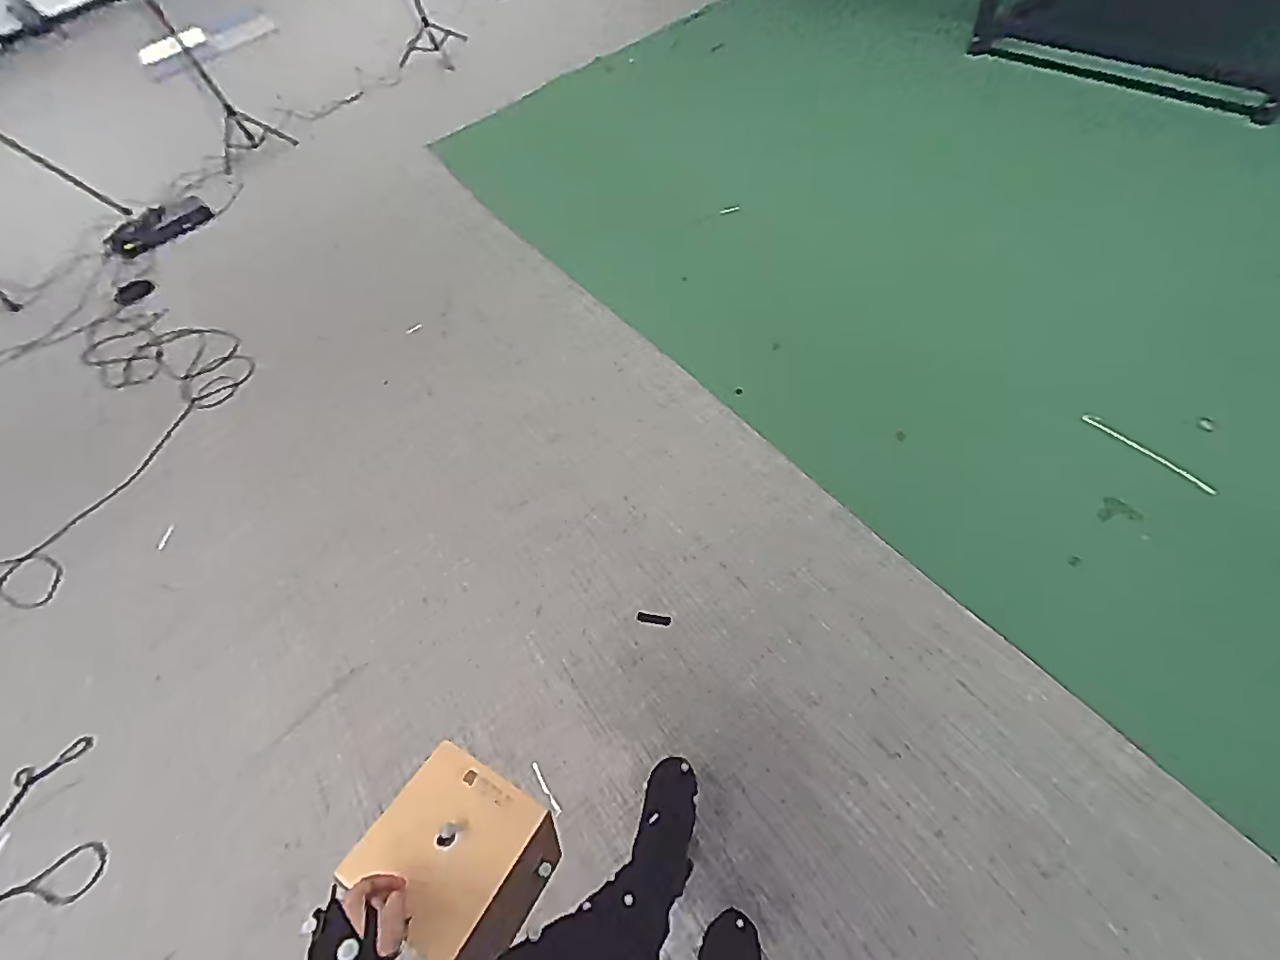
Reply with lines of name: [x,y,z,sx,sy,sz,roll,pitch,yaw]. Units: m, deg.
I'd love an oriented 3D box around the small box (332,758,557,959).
small box: [-0.217,0.474,0.651,0.168,0.179,0.176,19,44,21]
